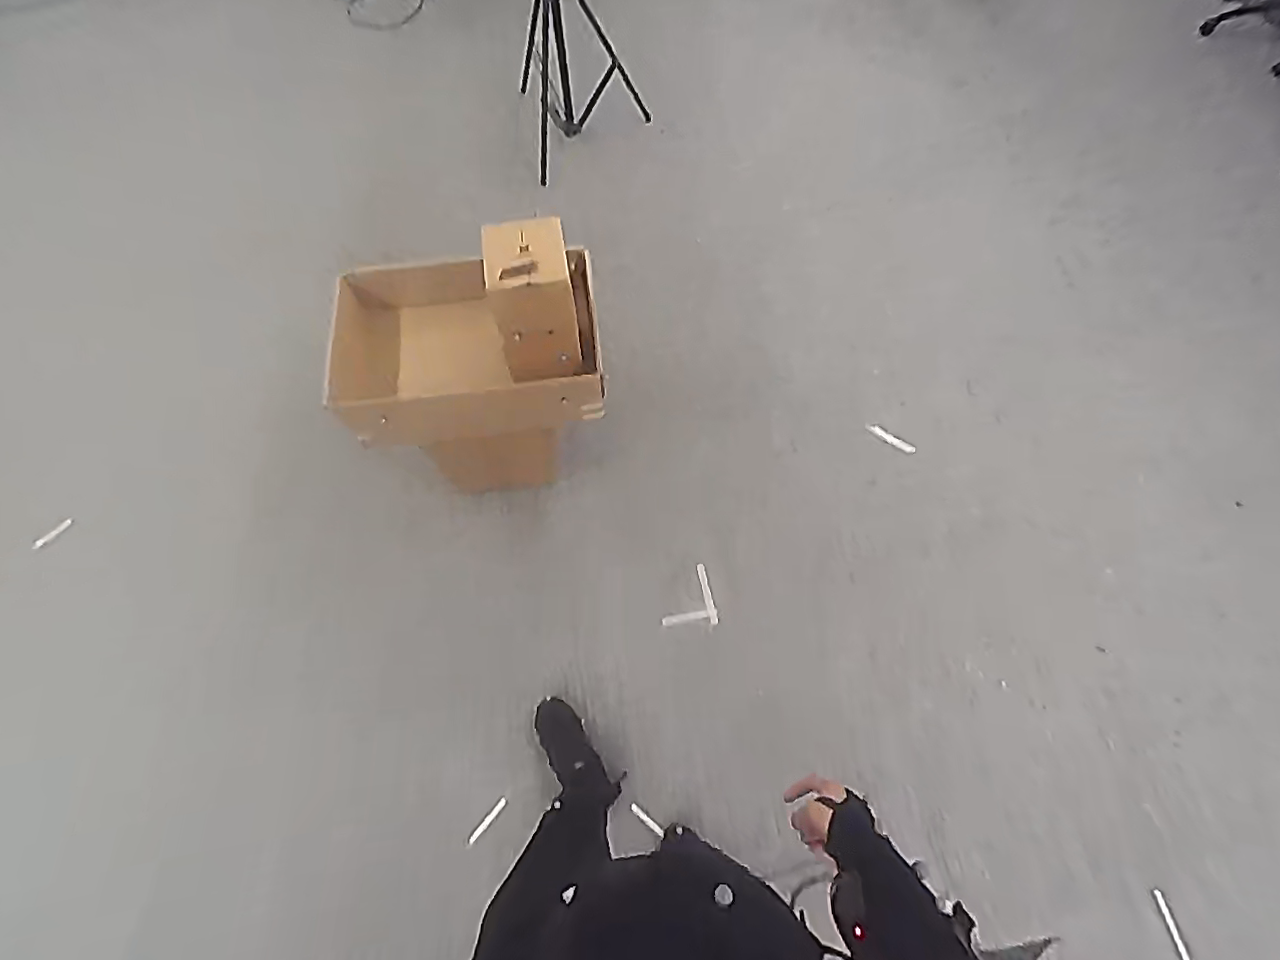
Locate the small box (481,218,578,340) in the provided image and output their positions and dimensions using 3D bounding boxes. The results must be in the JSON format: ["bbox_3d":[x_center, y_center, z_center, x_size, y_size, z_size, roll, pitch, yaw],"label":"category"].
[{"bbox_3d":[-0.228,-0.414,1.142,0.168,0.176,0.179,-9,67,-5],"label":"small box"}]
